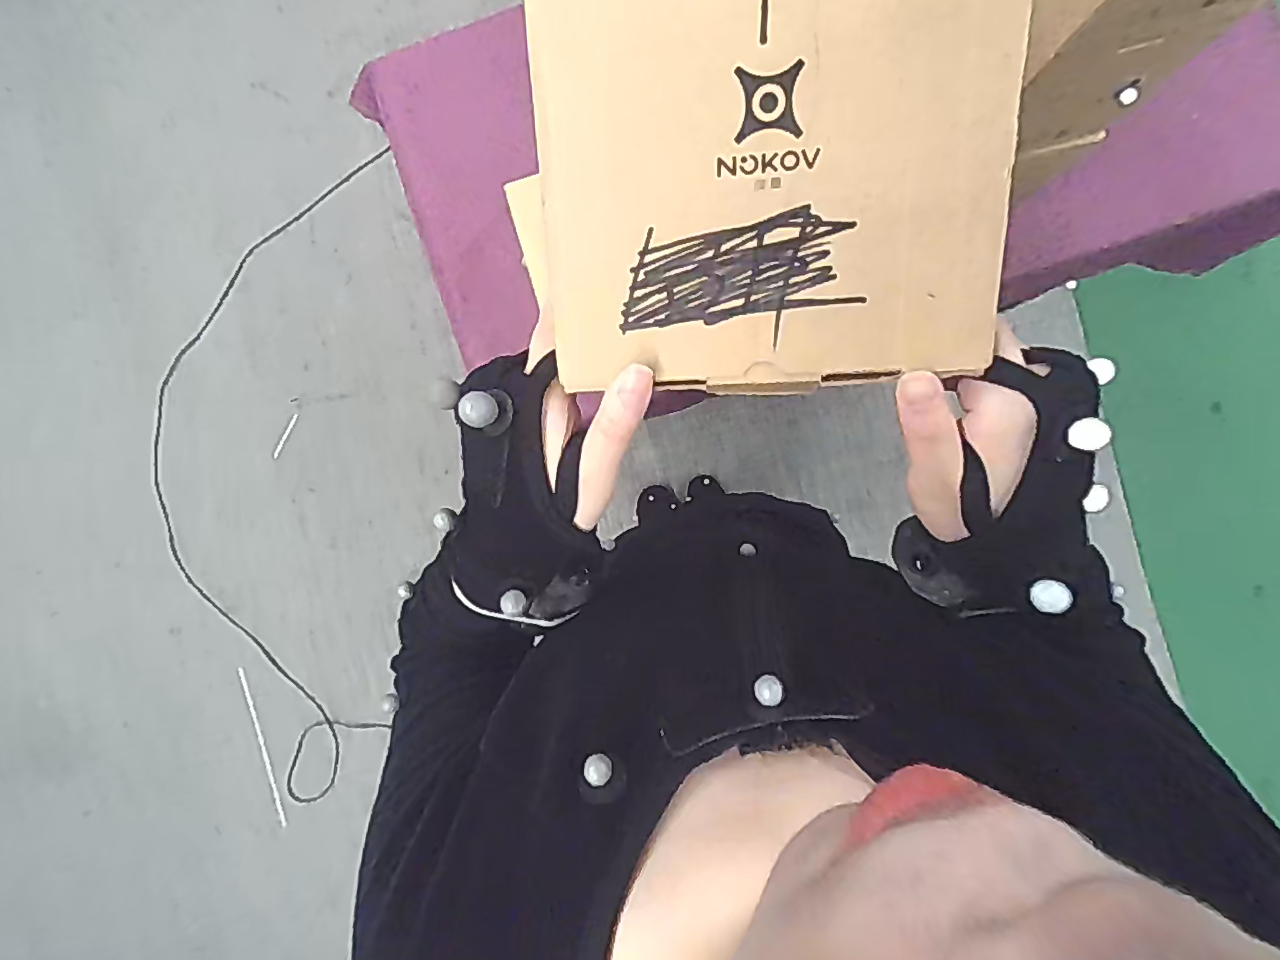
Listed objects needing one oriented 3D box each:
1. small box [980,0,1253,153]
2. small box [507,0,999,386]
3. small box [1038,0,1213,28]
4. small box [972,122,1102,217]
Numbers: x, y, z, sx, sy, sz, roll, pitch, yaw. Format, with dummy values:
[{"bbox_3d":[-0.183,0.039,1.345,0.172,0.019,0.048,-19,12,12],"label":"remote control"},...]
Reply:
[{"bbox_3d":[0.391,-0.442,0.507,0.168,0.176,0.179,-12,89,4],"label":"small box"},{"bbox_3d":[0.047,-0.145,0.269,0.168,0.176,0.179,-1,105,8],"label":"small box"},{"bbox_3d":[0.376,-0.440,0.344,0.168,0.176,0.179,-13,90,3],"label":"small box"},{"bbox_3d":[0.405,-0.434,0.670,0.179,0.176,0.168,-12,90,4],"label":"small box"}]
